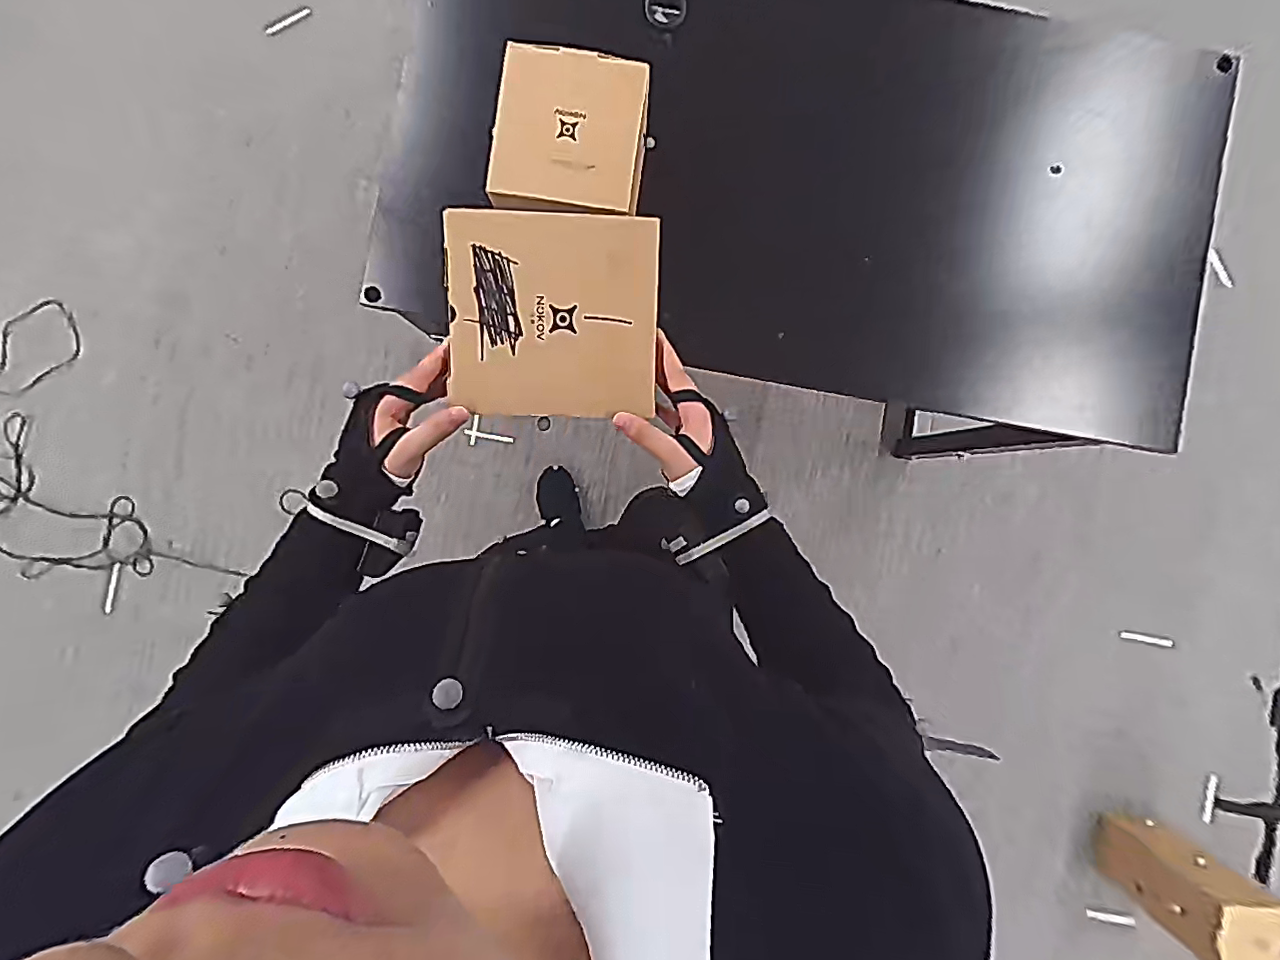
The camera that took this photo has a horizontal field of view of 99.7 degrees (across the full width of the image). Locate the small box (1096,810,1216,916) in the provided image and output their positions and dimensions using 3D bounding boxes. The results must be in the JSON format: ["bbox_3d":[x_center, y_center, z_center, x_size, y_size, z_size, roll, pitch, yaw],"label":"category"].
[{"bbox_3d":[1.388,1.035,1.464,0.168,0.176,0.179,4,90,-2],"label":"small box"}]

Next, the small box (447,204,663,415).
[{"bbox_3d":[-0.075,-0.149,0.526,0.179,0.176,0.168,1,98,-4],"label":"small box"}]

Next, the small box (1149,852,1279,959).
[{"bbox_3d":[1.384,1.031,1.300,0.179,0.176,0.168,3,90,-1],"label":"small box"}]

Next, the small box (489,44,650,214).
[{"bbox_3d":[-0.082,-0.400,0.696,0.168,0.176,0.179,7,90,-1],"label":"small box"}]
